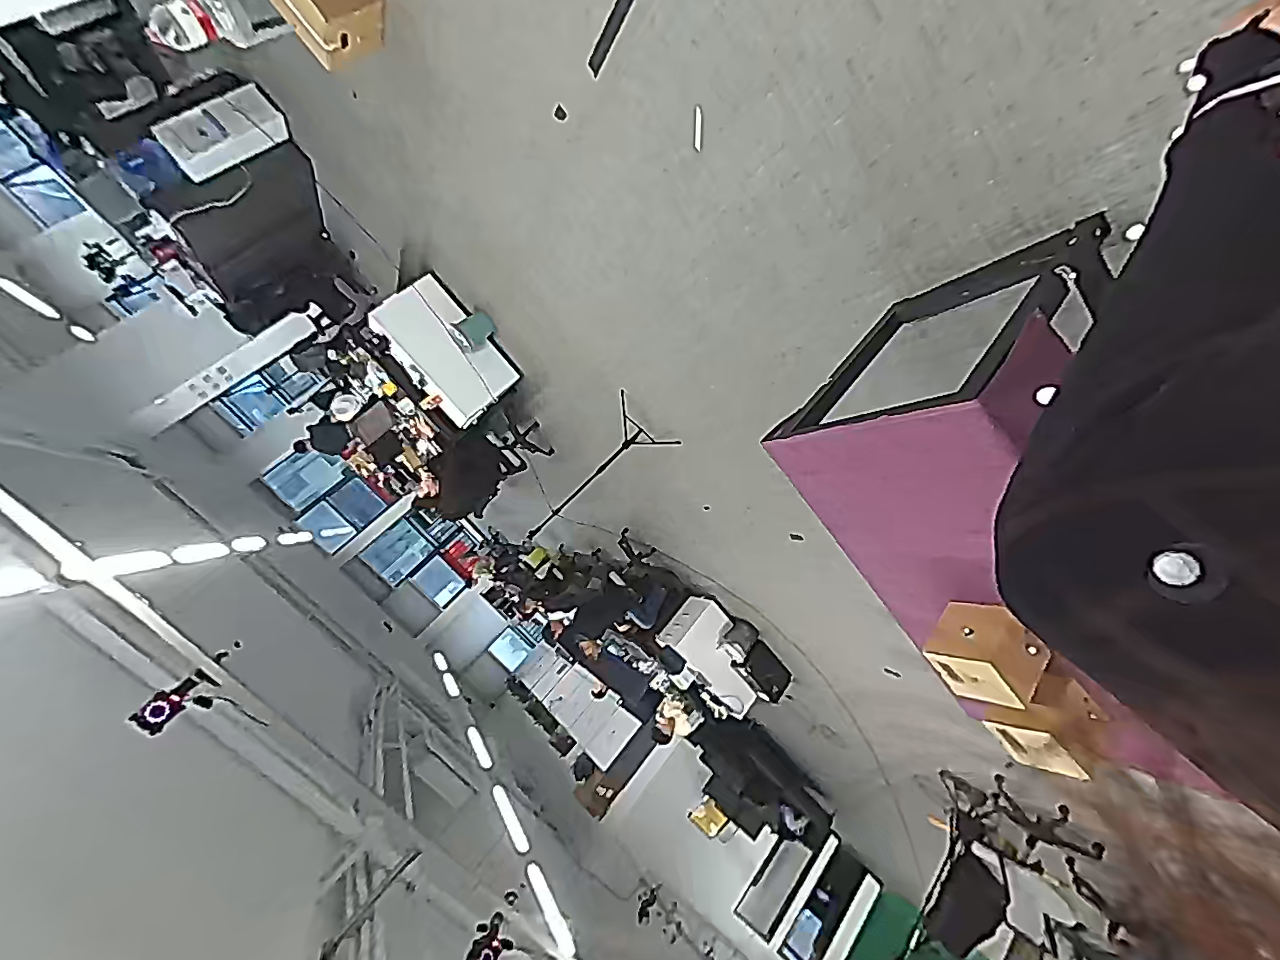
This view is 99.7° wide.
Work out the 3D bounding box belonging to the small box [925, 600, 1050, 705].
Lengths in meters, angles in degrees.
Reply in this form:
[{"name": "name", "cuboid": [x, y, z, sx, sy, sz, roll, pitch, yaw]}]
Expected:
[{"name": "small box", "cuboid": [0.854, 0.414, 1.331, 0.168, 0.176, 0.179, 48, 157, -11]}]
